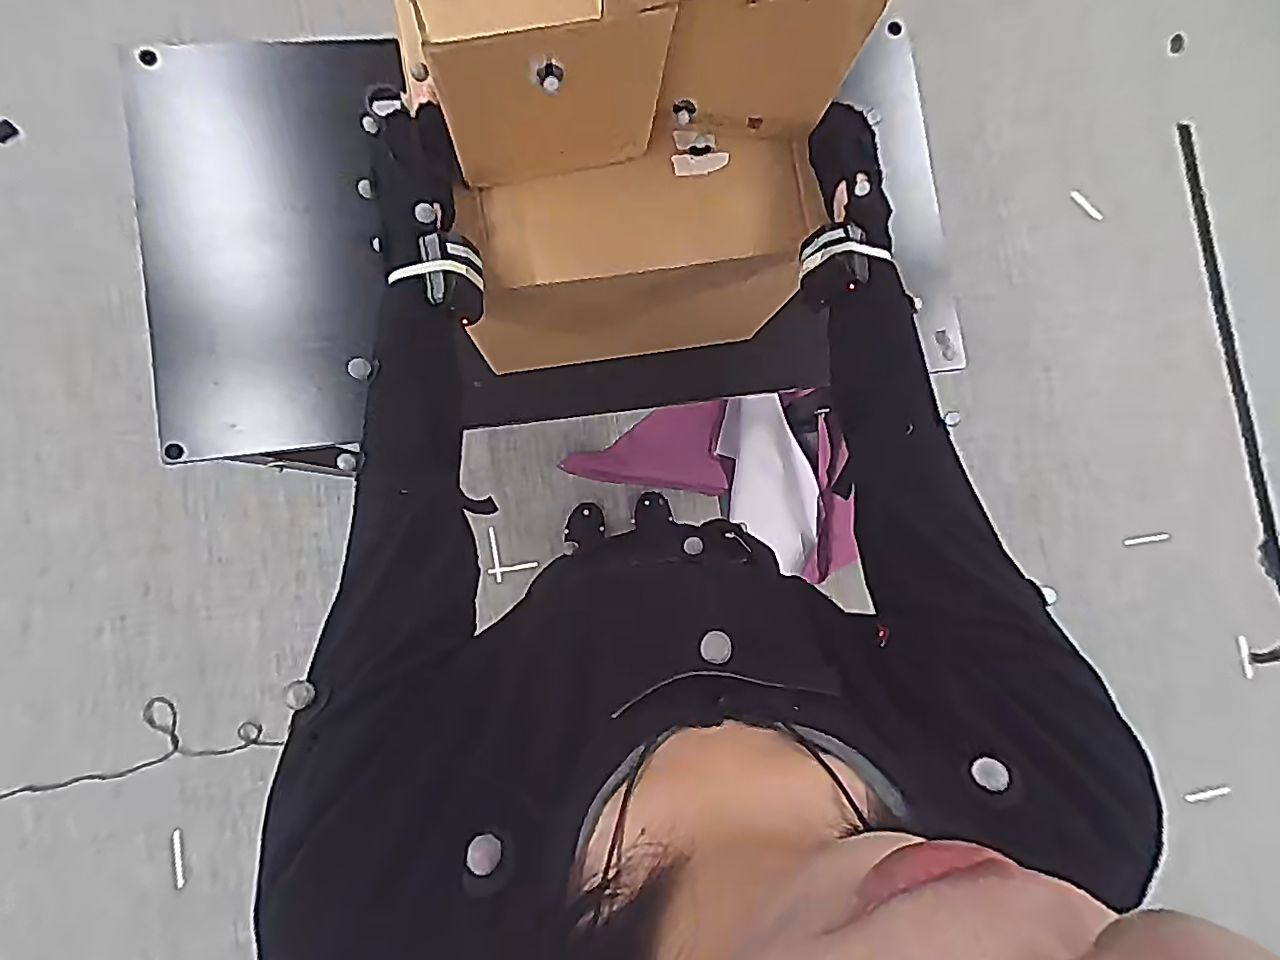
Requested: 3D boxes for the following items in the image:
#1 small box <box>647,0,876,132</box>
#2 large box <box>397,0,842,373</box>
[{"bbox_3d":[0.098,-0.434,0.457,0.168,0.176,0.179,2,86,-6],"label":"small box"},{"bbox_3d":[-0.031,-0.351,0.683,0.408,0.320,0.320,-10,89,-8],"label":"large box"}]
